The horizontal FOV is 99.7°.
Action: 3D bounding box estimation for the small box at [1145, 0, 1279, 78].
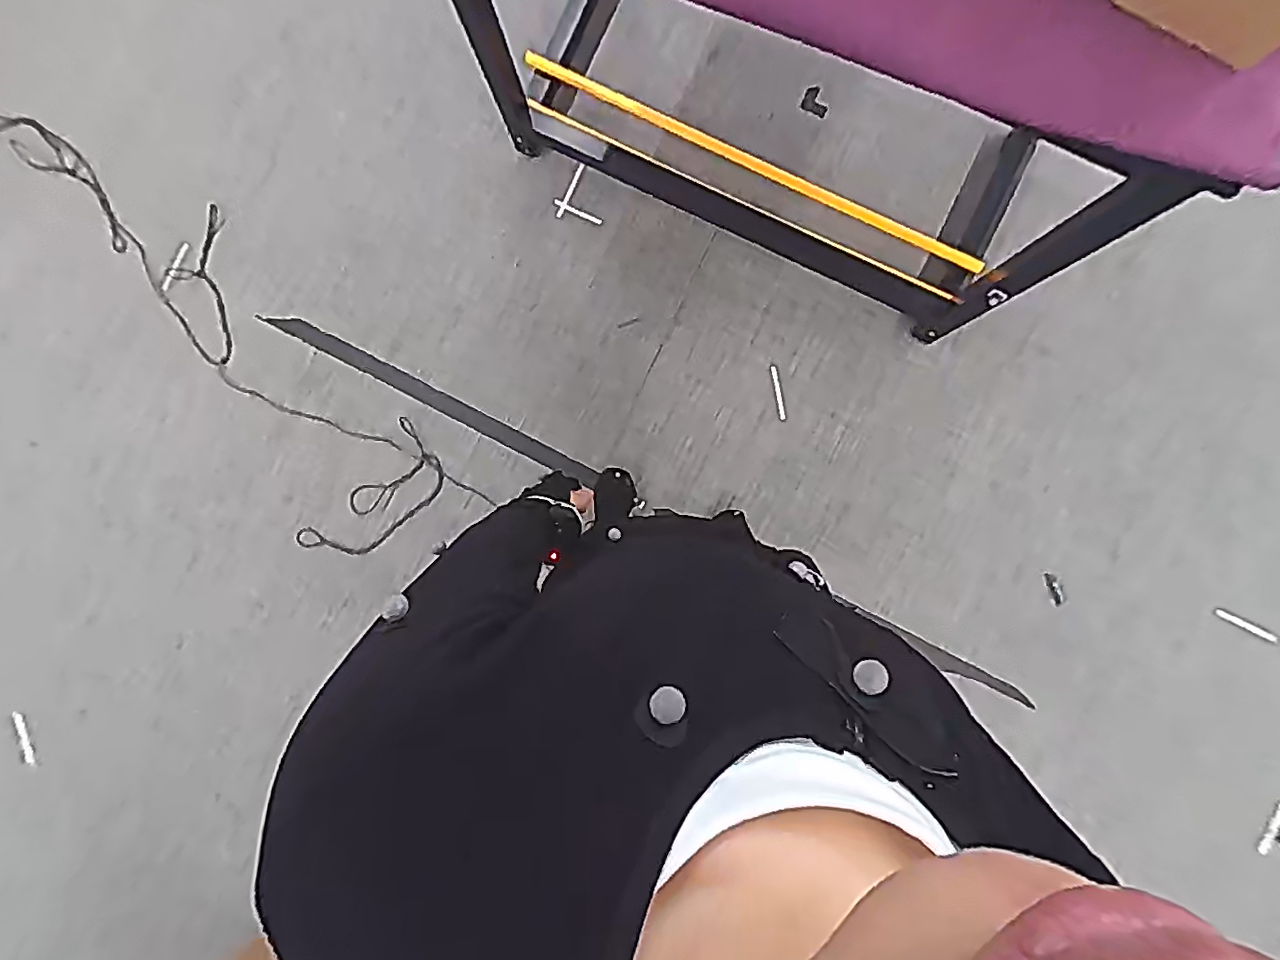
[{"bbox_3d":[0.693,-0.570,0.551,0.179,0.176,0.168,35,90,3],"label":"small box"}]
